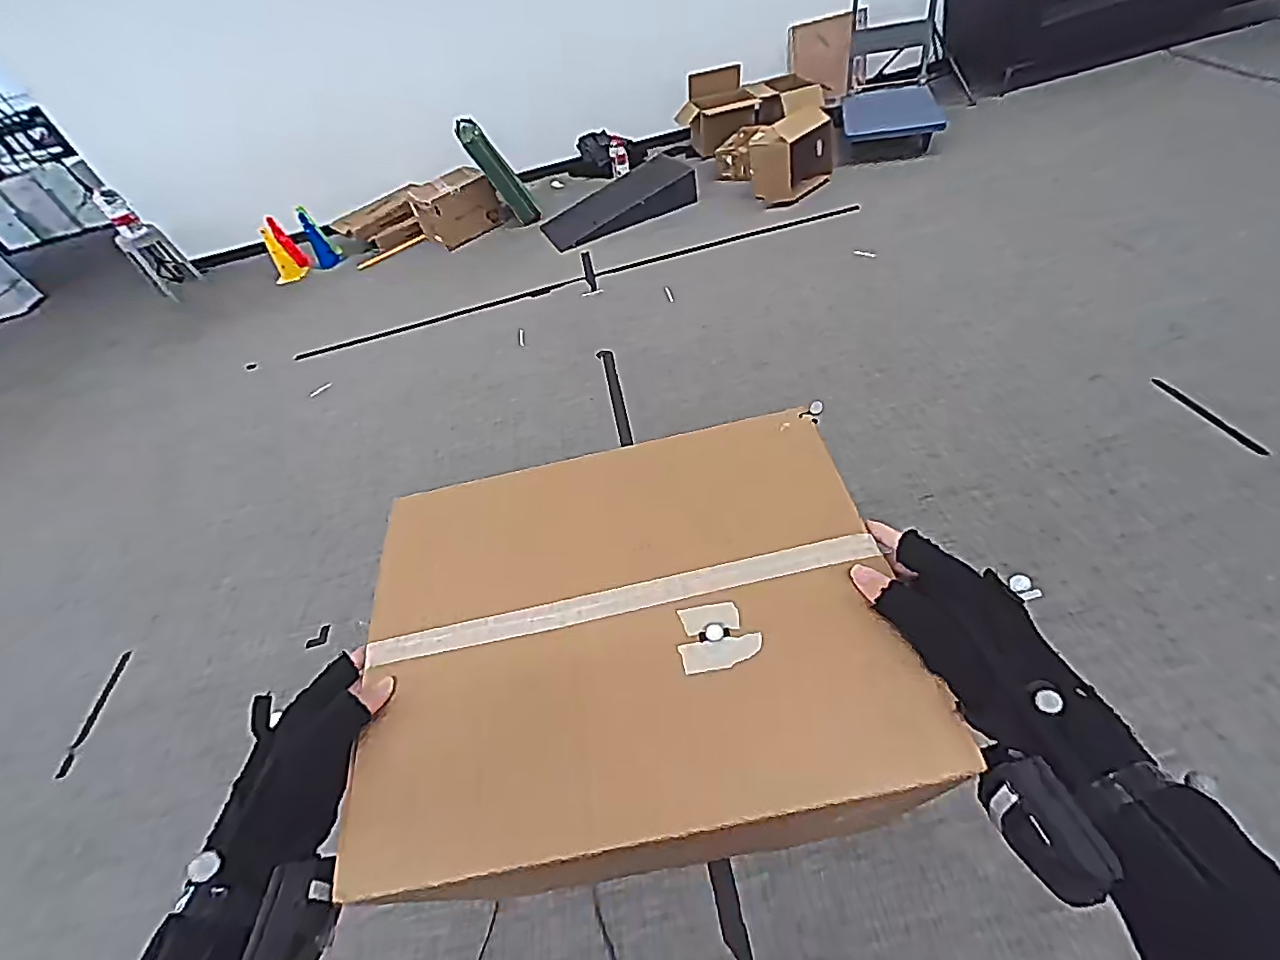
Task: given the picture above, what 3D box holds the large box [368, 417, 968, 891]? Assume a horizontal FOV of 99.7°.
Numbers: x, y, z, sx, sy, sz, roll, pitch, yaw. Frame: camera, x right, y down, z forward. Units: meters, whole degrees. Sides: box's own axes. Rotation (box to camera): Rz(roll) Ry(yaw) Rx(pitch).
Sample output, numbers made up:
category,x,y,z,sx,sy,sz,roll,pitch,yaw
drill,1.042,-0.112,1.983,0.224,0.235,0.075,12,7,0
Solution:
category,x,y,z,sx,sy,sz,roll,pitch,yaw
large box,0.013,0.188,0.551,0.408,0.320,0.320,-12,52,1
